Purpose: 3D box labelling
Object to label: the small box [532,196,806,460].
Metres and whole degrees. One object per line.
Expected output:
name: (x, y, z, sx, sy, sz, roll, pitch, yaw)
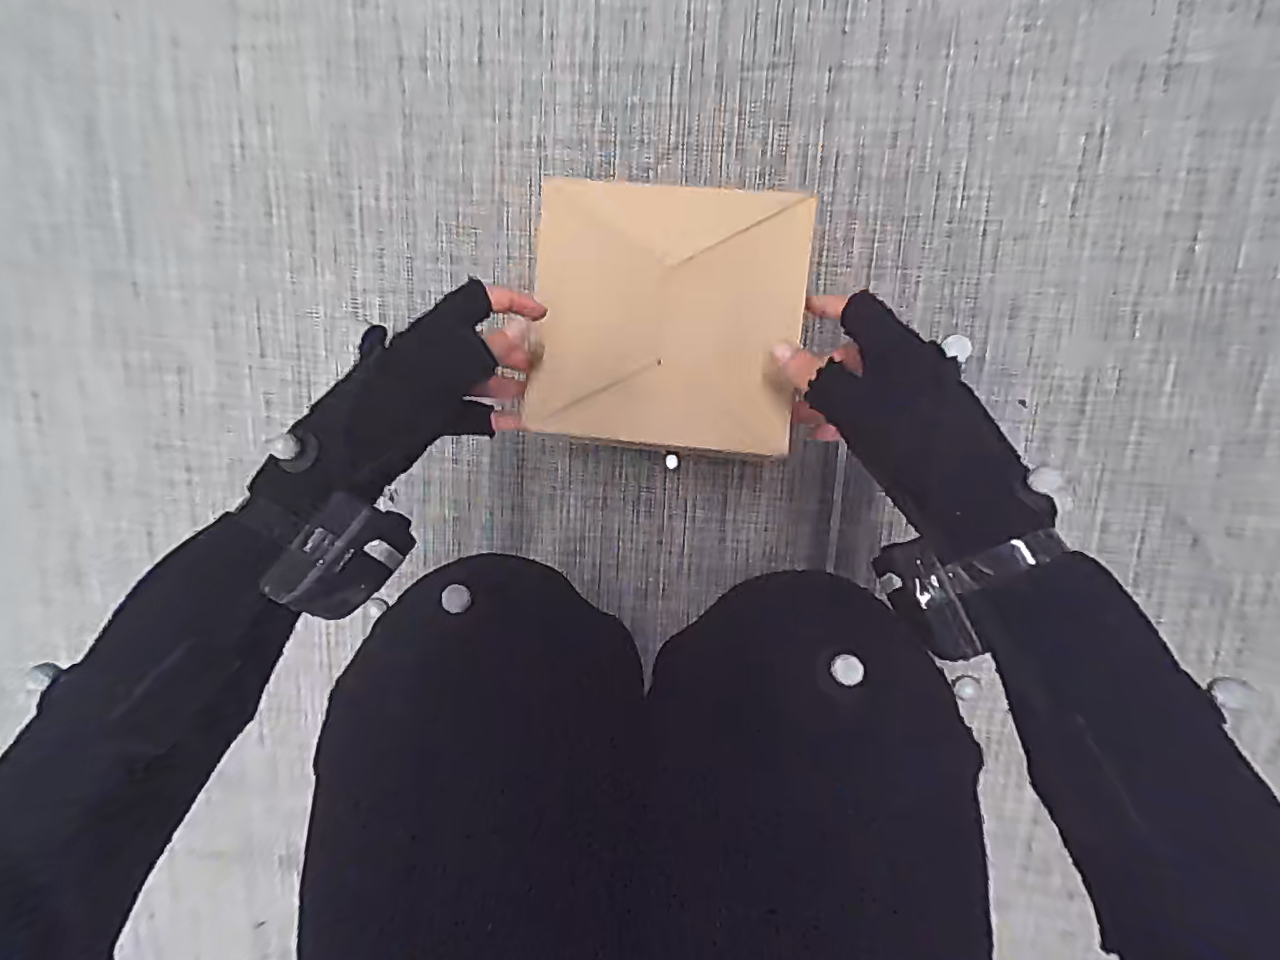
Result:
small box: (0.028, -0.104, 0.431, 0.179, 0.176, 0.168, 6, 92, 6)
